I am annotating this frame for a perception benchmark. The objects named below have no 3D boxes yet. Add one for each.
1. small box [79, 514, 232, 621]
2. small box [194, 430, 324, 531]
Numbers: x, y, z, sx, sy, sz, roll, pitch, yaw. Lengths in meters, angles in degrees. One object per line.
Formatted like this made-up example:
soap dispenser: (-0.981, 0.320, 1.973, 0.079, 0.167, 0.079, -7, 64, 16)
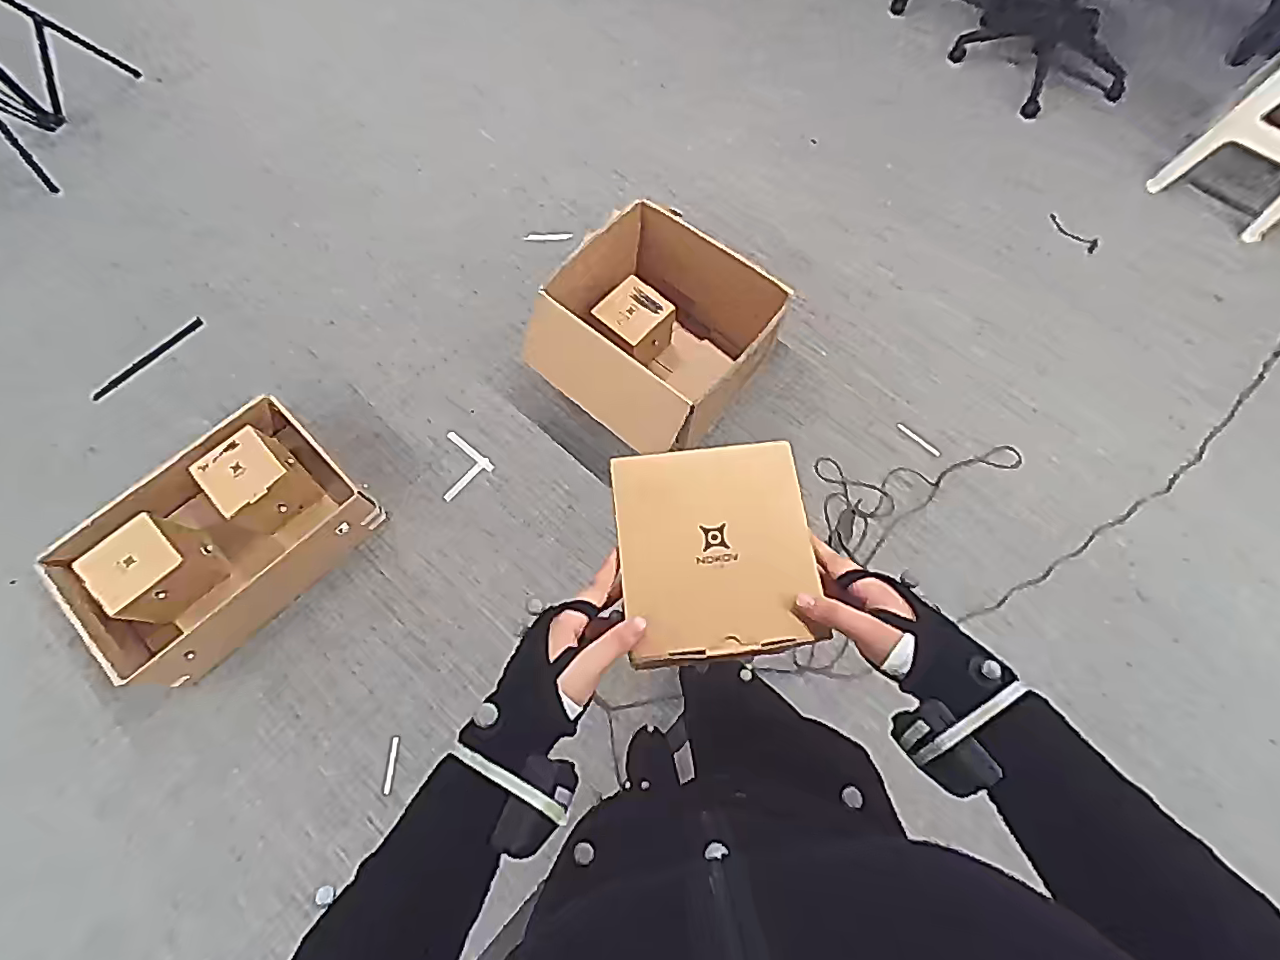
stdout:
small box: (-1.136, 0.215, 1.283, 0.168, 0.176, 0.179, 42, 73, 11)
small box: (-0.946, 0.010, 1.361, 0.168, 0.176, 0.179, -42, 78, -13)
